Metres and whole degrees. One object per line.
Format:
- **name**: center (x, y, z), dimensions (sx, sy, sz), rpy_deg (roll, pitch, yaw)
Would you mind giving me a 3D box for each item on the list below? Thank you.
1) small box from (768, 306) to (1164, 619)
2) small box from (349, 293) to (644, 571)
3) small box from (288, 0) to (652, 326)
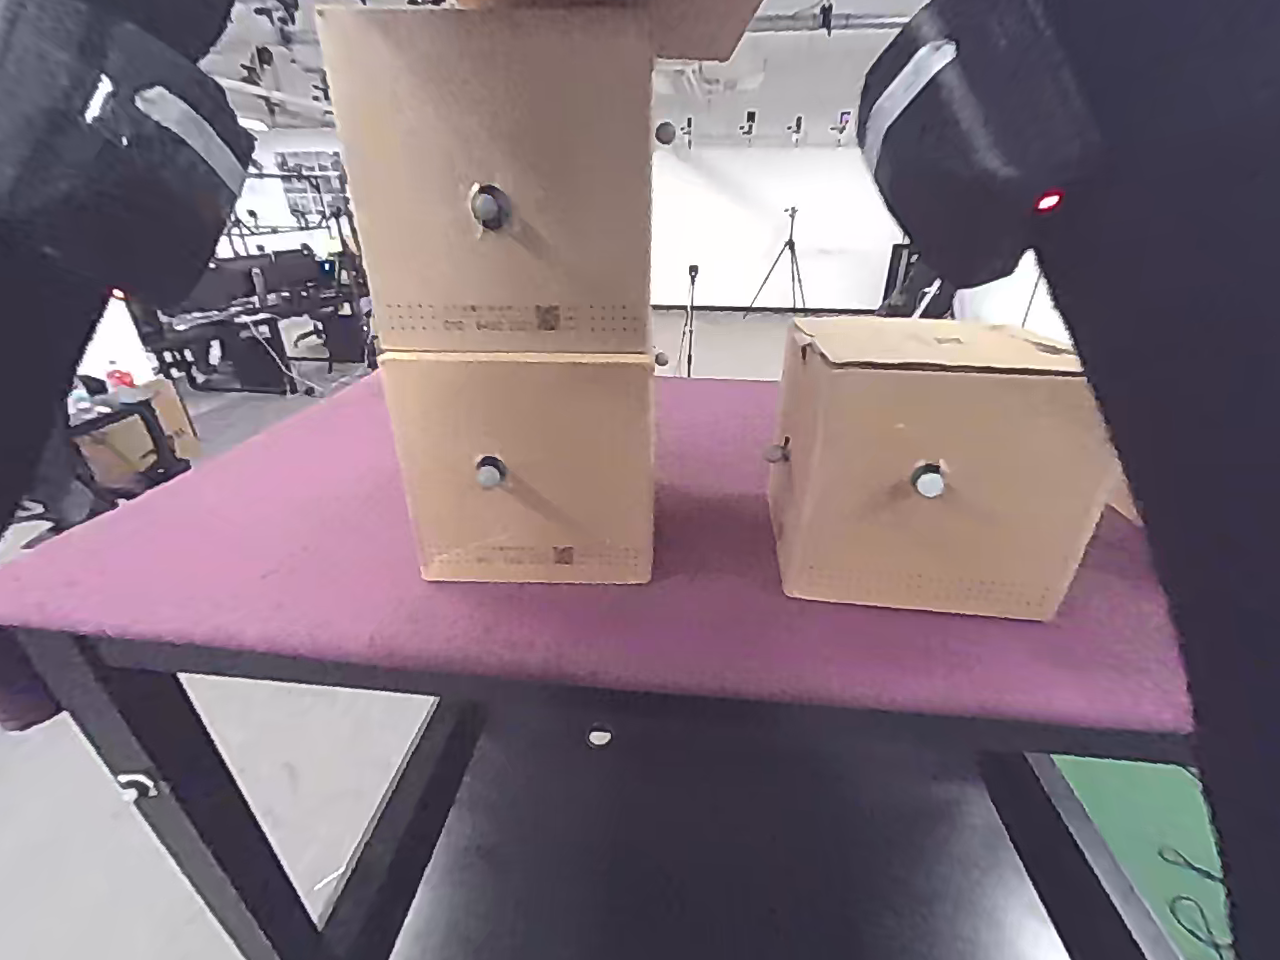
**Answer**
- **small box**: center (0.187, -0.022, 0.383), dimensions (0.179, 0.176, 0.168), rpy_deg (4, 28, 7)
- **small box**: center (-0.082, -0.046, 0.412), dimensions (0.168, 0.176, 0.179), rpy_deg (2, 27, 1)
- **small box**: center (-0.078, -0.199, 0.349), dimensions (0.168, 0.176, 0.179), rpy_deg (3, 27, 1)
